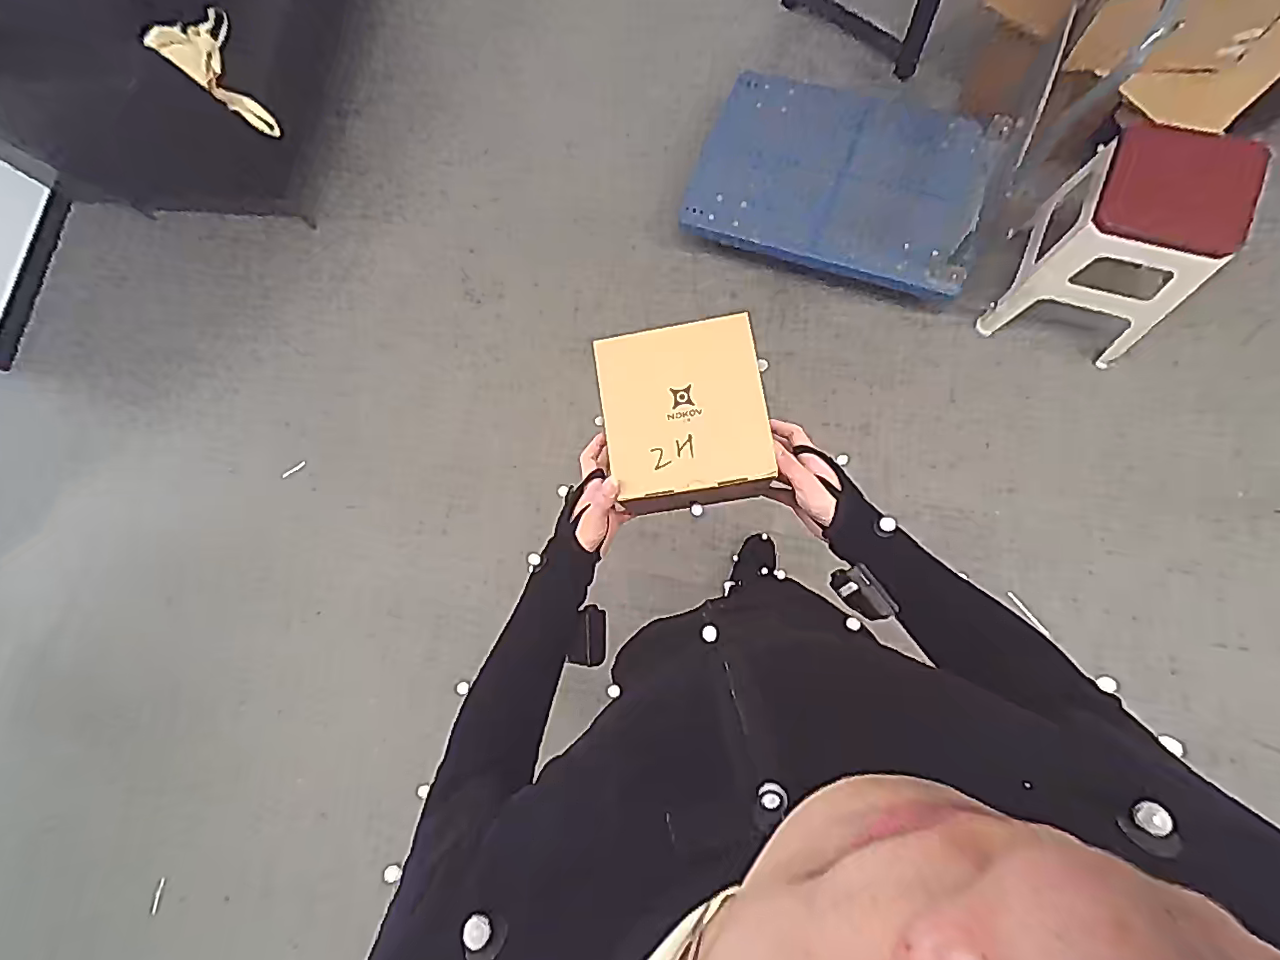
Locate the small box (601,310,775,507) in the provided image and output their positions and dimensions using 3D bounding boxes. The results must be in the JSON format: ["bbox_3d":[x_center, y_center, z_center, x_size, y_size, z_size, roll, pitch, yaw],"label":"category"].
[{"bbox_3d":[0.054,-0.072,0.638,0.168,0.176,0.179,-8,80,5],"label":"small box"}]
